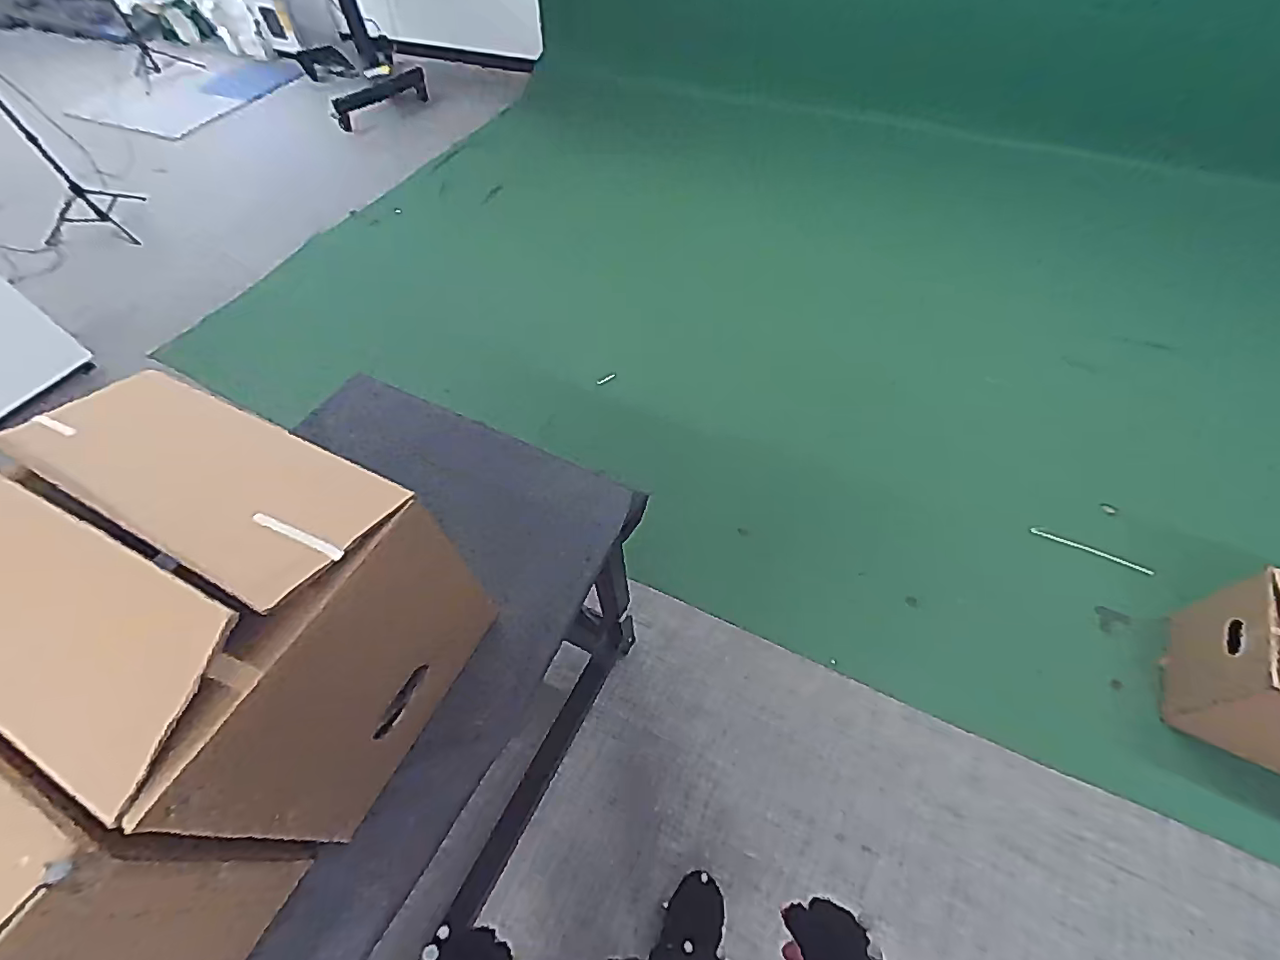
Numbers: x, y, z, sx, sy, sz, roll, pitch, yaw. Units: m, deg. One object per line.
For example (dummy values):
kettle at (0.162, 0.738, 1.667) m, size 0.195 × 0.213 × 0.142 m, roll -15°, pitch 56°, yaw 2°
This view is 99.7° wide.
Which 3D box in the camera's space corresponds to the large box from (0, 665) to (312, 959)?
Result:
large box at (-0.613, 0.374, 0.471) m, size 0.408 × 0.320 × 0.320 m, roll 21°, pitch 59°, yaw 16°
